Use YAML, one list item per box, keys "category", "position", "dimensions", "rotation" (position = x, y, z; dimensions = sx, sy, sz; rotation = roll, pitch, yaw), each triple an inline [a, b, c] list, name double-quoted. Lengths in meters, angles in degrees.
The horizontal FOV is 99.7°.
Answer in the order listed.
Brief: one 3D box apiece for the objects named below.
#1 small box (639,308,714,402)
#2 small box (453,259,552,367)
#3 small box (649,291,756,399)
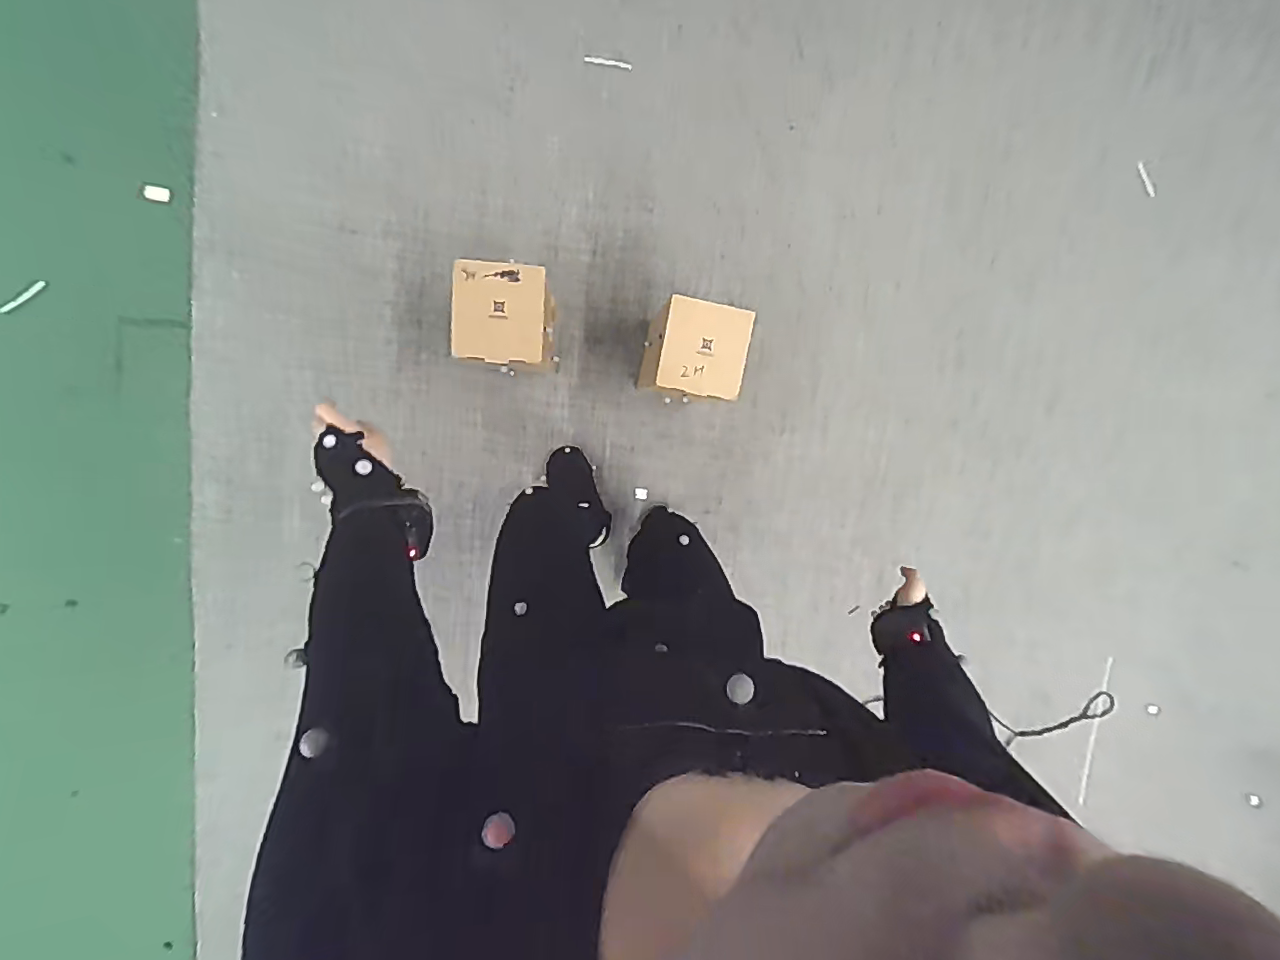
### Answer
- category: "small box"
  position: [0.098, -0.288, 1.269]
  dimensions: [0.168, 0.176, 0.179]
  rotation: [12, 98, -8]
- category: "small box"
  position: [-0.262, -0.316, 1.059]
  dimensions: [0.168, 0.176, 0.179]
  rotation: [3, 98, -6]
- category: "small box"
  position: [0.118, -0.267, 1.107]
  dimensions: [0.168, 0.176, 0.179]
  rotation: [10, 97, -7]
